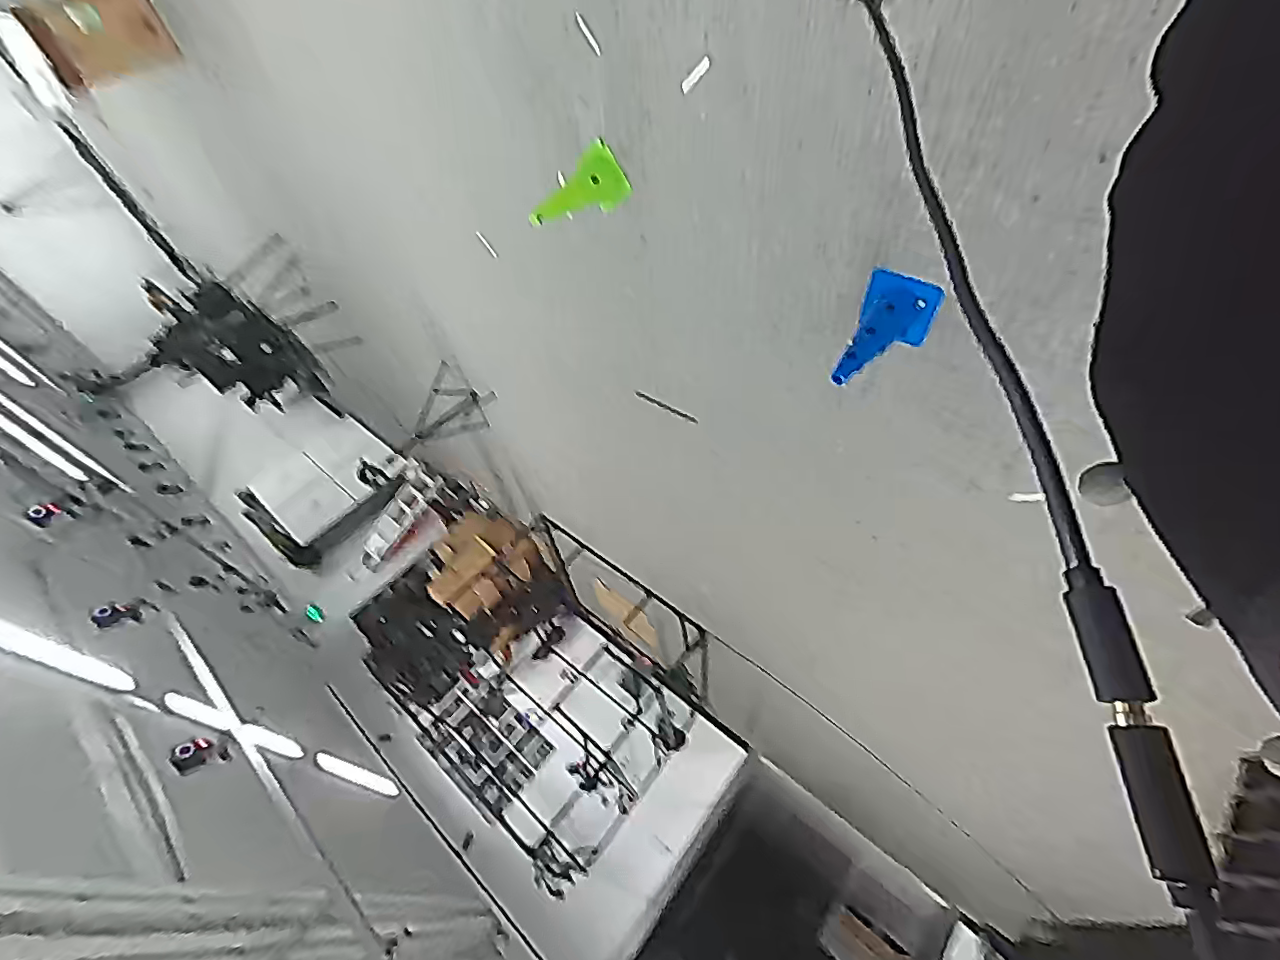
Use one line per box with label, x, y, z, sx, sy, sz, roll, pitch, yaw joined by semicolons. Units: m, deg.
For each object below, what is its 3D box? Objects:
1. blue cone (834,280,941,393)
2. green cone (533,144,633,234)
blue cone;0.644;-0.369;1.485;0.193;0.380;0.192;33;154;25
green cone;-0.235;-0.963;1.880;0.202;0.368;0.200;53;155;-20
